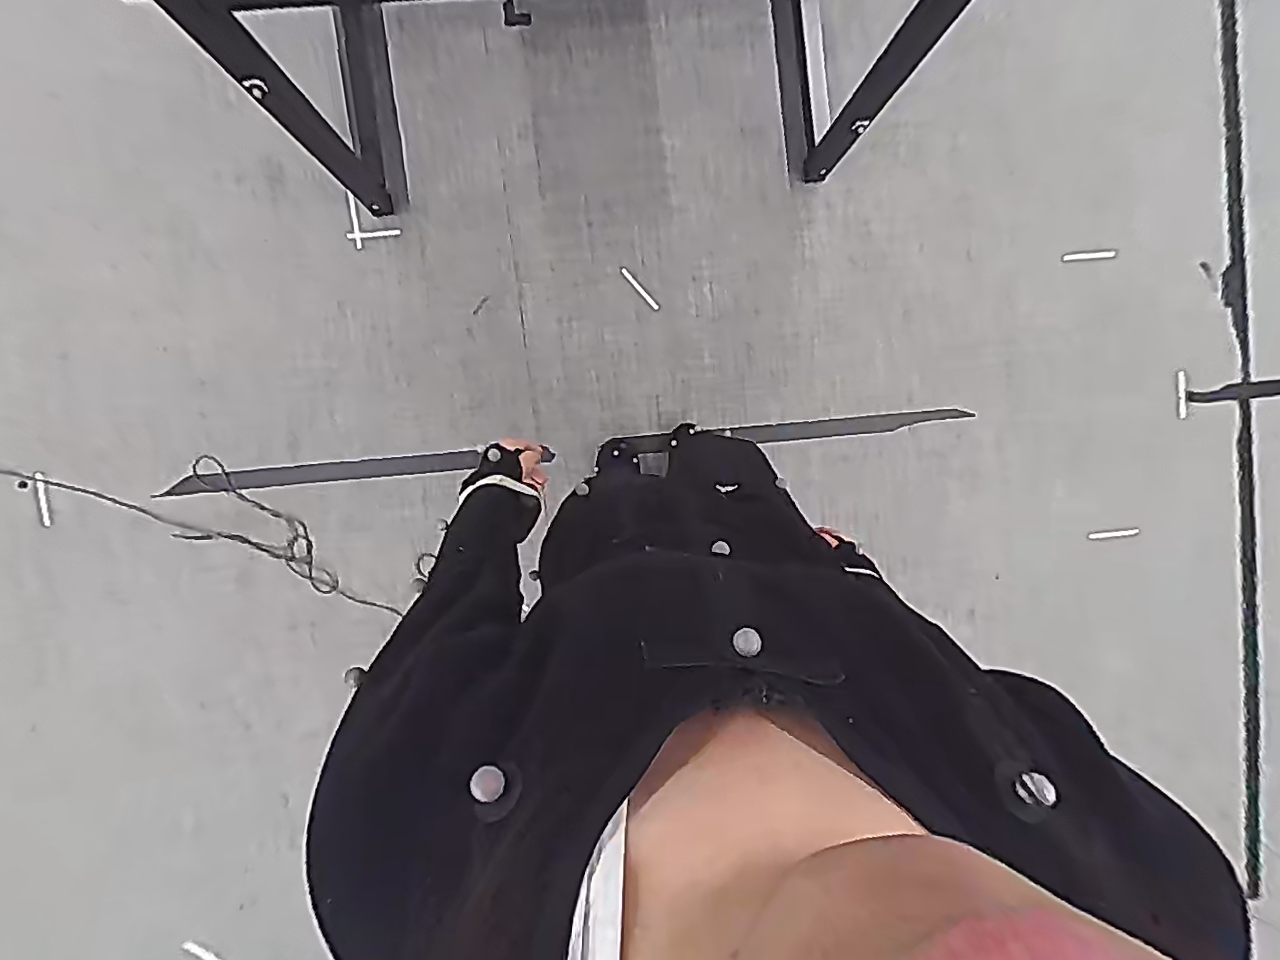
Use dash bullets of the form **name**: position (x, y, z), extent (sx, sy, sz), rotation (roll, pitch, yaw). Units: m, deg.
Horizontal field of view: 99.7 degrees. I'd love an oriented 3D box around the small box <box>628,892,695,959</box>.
- **small box**: position (0.061, 1.282, 1.489), extent (0.168, 0.176, 0.179), rotation (-9, 95, -3)
